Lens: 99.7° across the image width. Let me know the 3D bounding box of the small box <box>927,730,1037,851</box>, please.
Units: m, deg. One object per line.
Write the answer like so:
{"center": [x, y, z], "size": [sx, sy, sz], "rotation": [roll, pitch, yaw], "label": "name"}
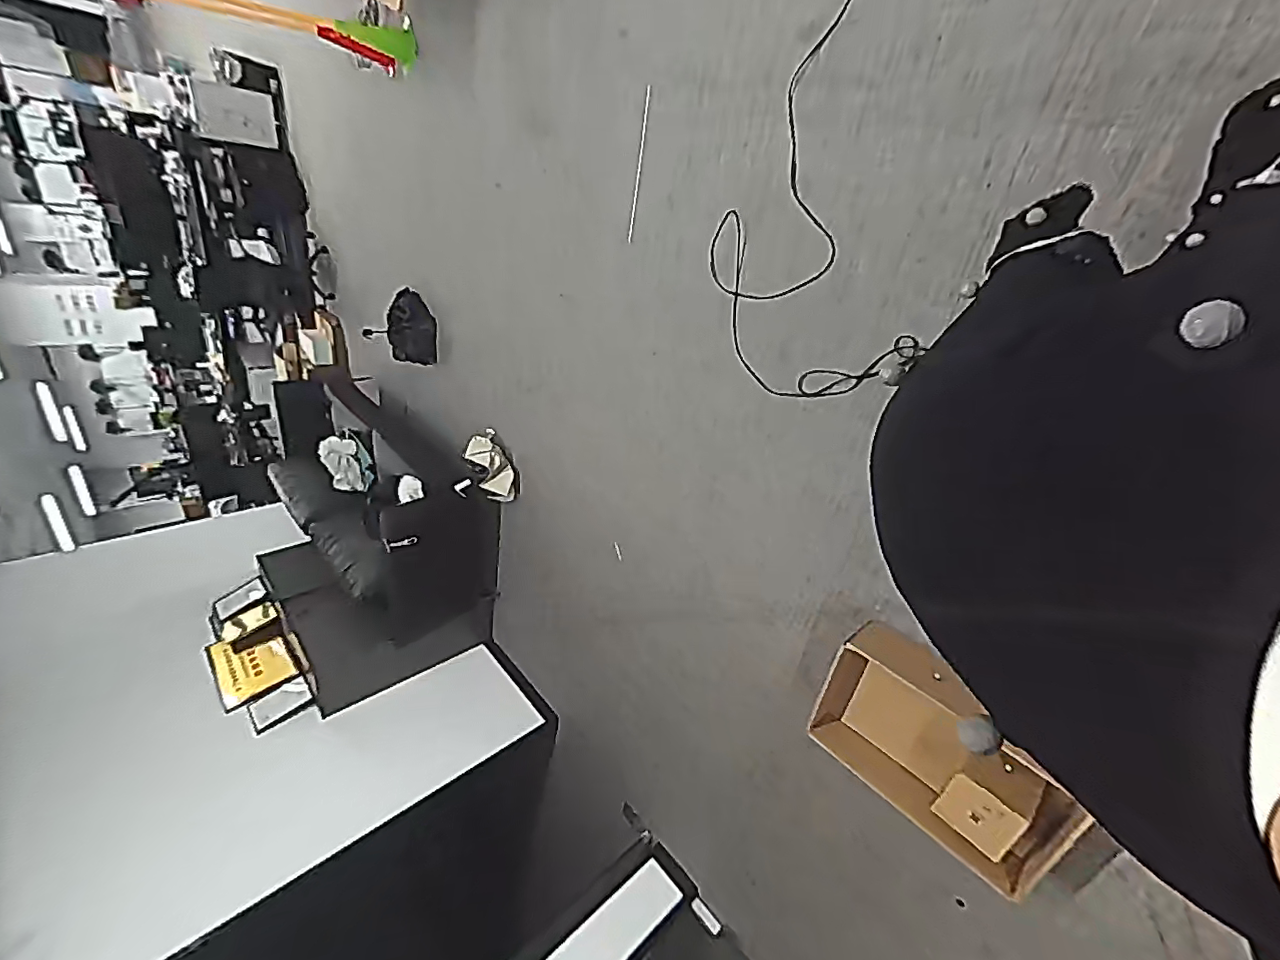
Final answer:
{"center": [0.888, 0.795, 1.399], "size": [0.168, 0.176, 0.179], "rotation": [34, 127, 36], "label": "small box"}
